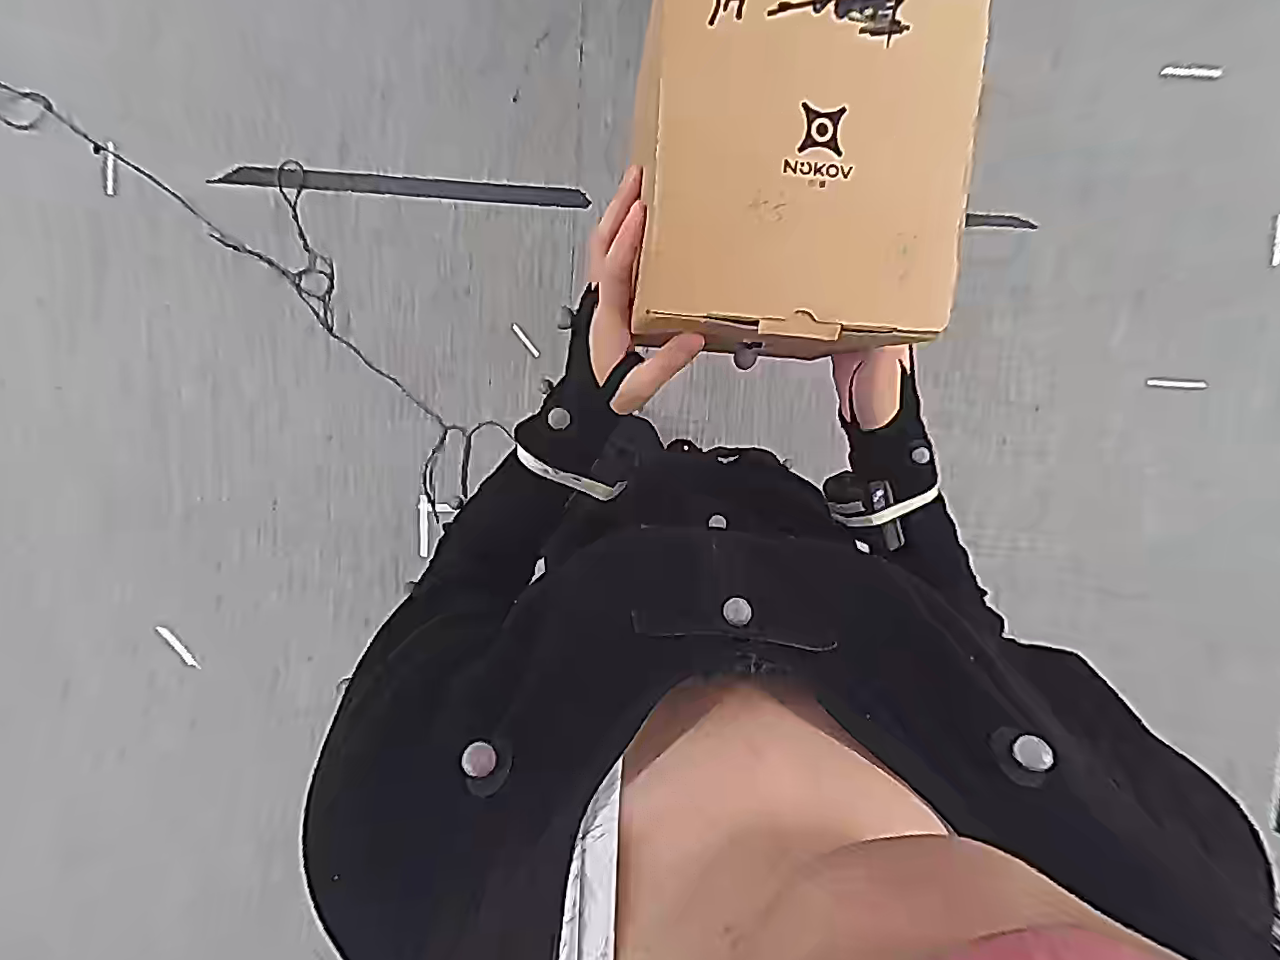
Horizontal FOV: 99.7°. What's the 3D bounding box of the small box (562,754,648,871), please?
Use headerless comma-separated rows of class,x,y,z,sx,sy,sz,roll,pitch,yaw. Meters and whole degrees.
small box,-0.077,0.767,1.265,0.179,0.176,0.168,6,93,-1

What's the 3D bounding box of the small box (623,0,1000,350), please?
small box,0.079,-0.179,0.344,0.168,0.176,0.179,2,99,-7
